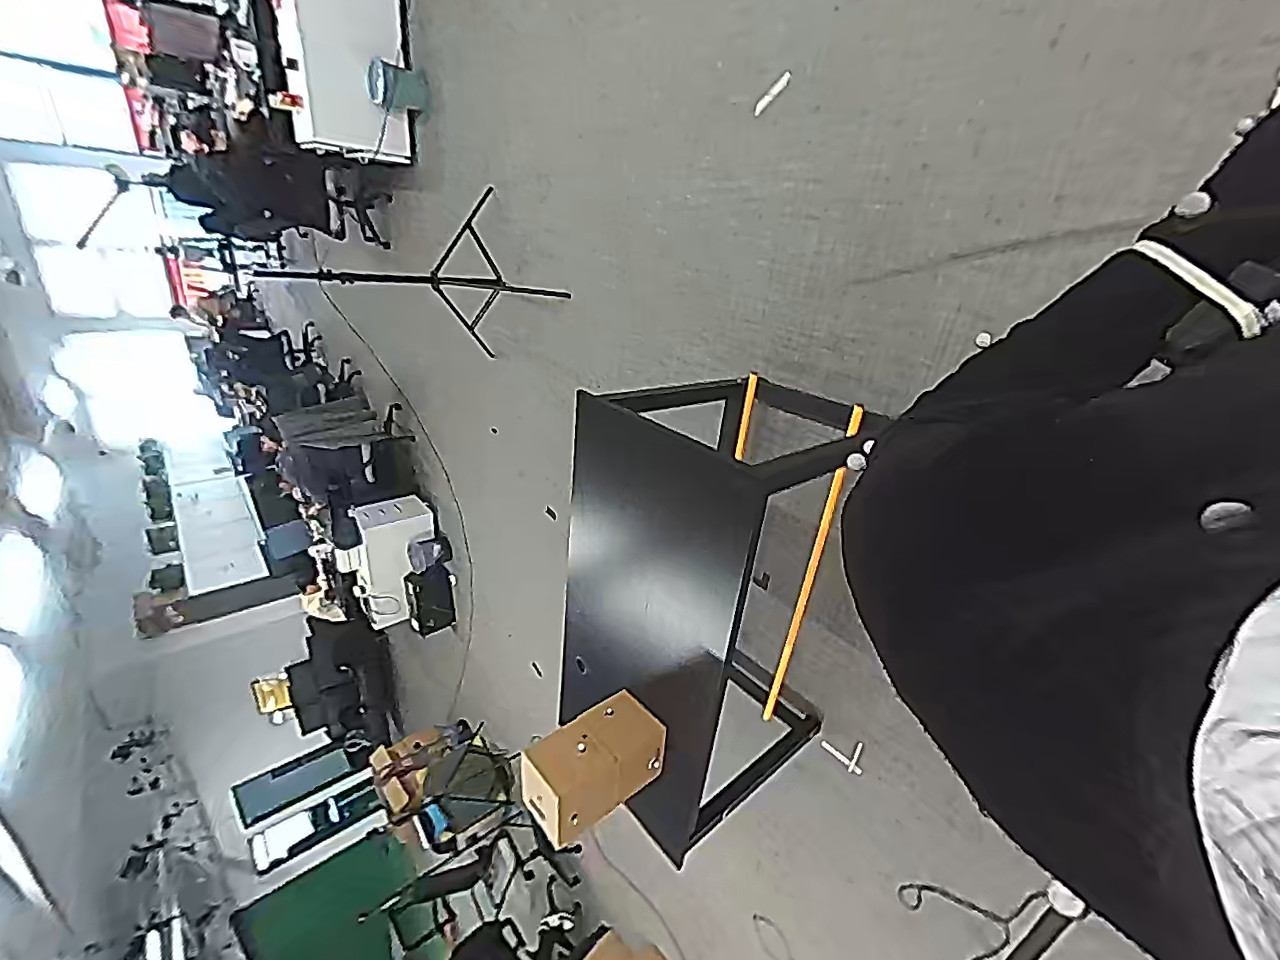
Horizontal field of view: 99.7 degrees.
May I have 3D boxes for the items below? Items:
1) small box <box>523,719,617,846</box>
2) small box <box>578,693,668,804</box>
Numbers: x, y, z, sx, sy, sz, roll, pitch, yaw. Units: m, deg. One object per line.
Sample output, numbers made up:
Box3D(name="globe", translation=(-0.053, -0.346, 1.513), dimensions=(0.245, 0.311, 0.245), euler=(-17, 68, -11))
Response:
Box3D(name="small box", translation=(-0.171, 0.735, 1.331), dimensions=(0.168, 0.176, 0.179), euler=(26, 121, 44))
Box3D(name="small box", translation=(-0.048, 0.698, 1.435), dimensions=(0.179, 0.176, 0.168), euler=(26, 122, 43))
